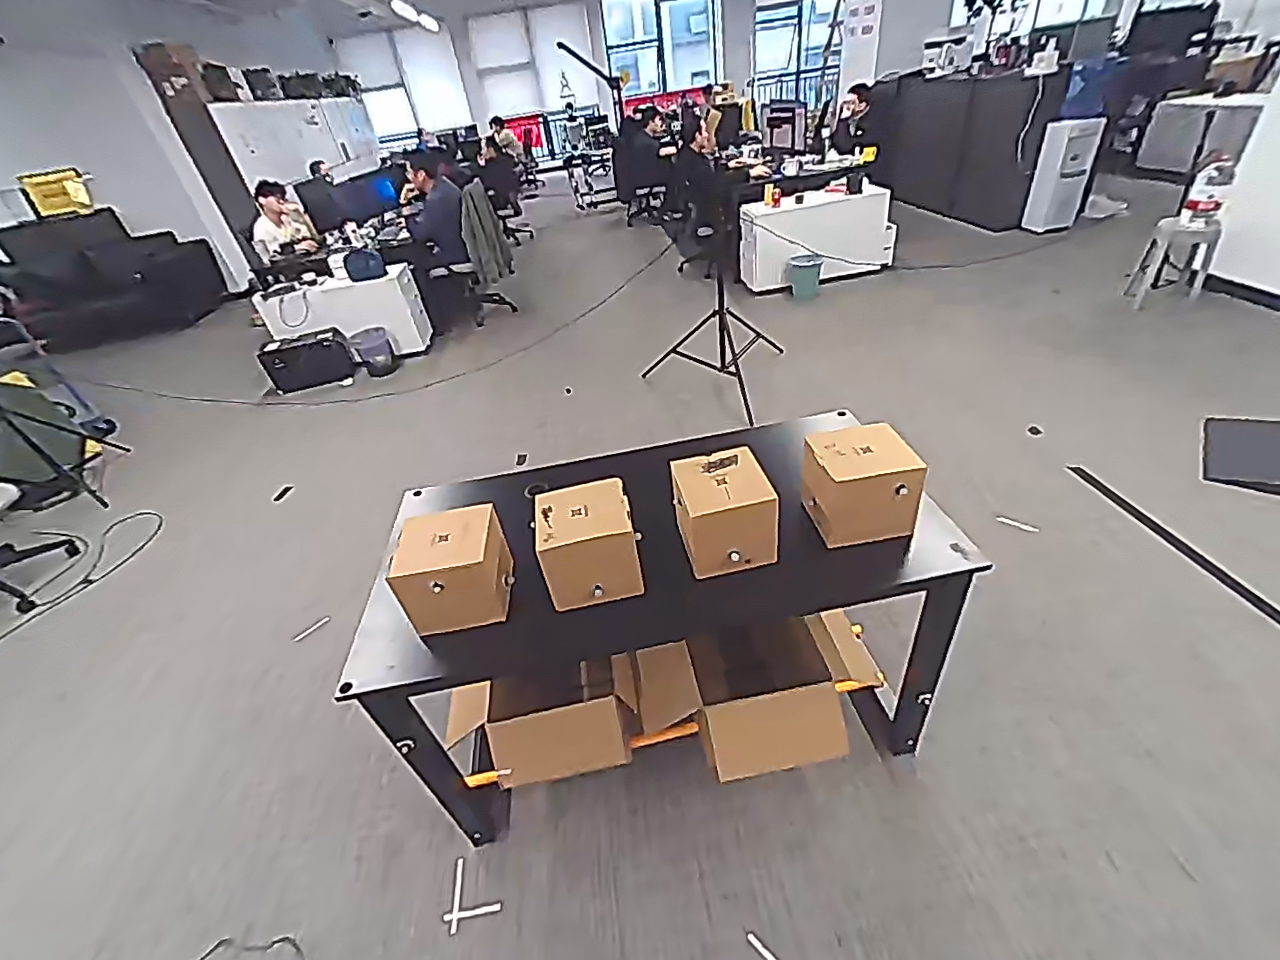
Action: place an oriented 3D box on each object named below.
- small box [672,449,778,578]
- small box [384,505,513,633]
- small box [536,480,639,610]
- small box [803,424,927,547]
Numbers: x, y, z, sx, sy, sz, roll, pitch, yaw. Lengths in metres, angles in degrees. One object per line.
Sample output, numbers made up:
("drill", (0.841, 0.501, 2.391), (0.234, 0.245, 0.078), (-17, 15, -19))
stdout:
("small box", (0.165, 0.066, 1.078), (0.168, 0.176, 0.179), (-12, 37, -3))
("small box", (-0.359, 0.174, 1.047), (0.179, 0.176, 0.168), (-10, 38, -2))
("small box", (-0.100, 0.127, 1.054), (0.179, 0.176, 0.168), (-11, 36, -4))
("small box", (0.439, 0.011, 1.087), (0.179, 0.176, 0.168), (-10, 35, 0))
